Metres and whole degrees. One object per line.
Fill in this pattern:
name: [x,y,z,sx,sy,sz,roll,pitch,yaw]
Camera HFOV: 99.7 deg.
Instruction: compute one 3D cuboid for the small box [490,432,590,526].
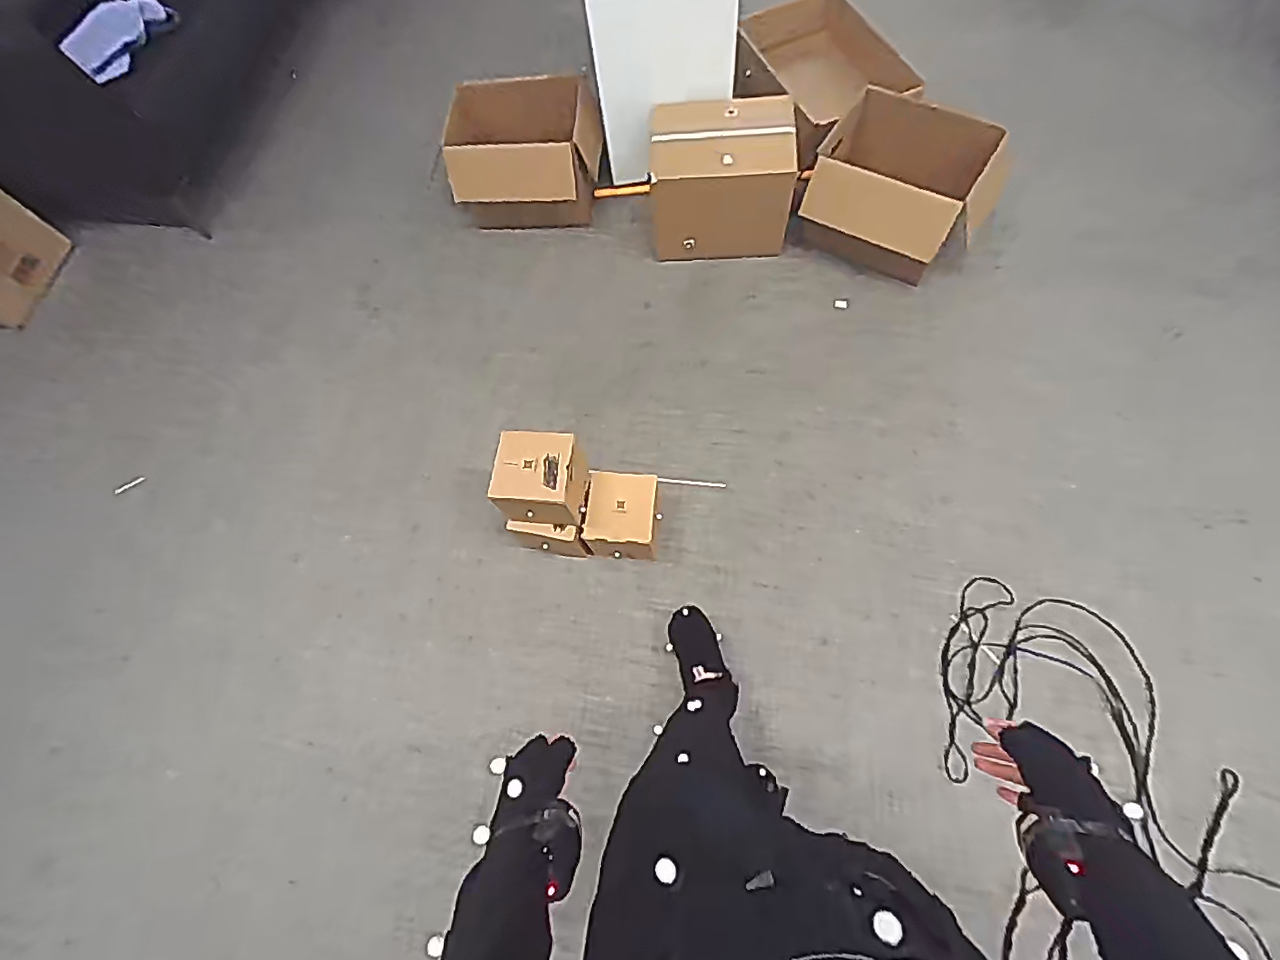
small box: [-0.223,0.003,1.261,0.179,0.176,0.168,4,68,9]
